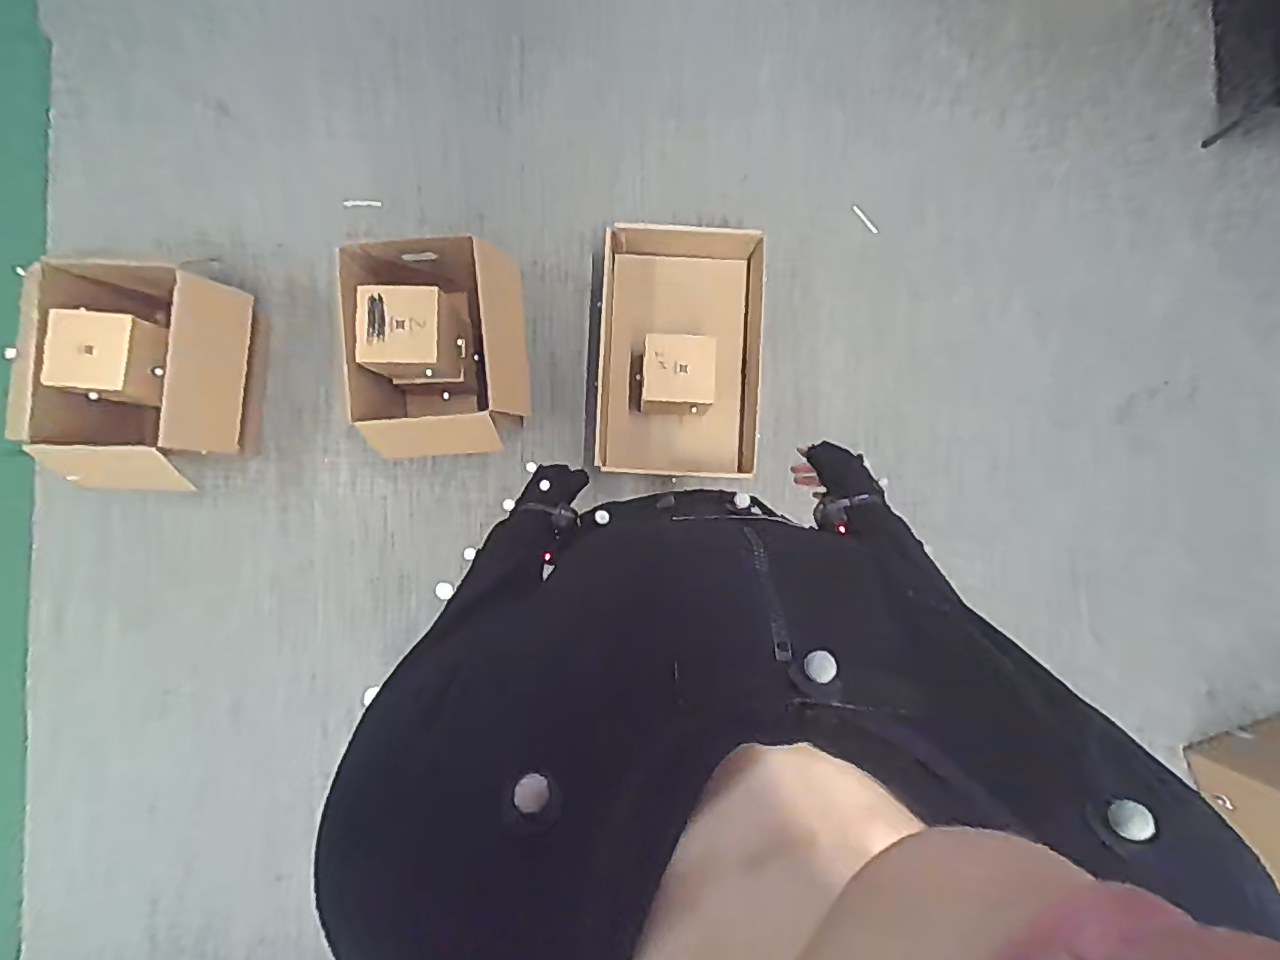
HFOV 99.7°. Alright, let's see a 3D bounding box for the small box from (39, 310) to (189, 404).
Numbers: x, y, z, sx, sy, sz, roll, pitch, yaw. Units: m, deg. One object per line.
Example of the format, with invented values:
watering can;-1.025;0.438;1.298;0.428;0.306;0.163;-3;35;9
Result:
small box;-1.172;-0.269;1.220;0.179;0.176;0.168;4;87;-1
